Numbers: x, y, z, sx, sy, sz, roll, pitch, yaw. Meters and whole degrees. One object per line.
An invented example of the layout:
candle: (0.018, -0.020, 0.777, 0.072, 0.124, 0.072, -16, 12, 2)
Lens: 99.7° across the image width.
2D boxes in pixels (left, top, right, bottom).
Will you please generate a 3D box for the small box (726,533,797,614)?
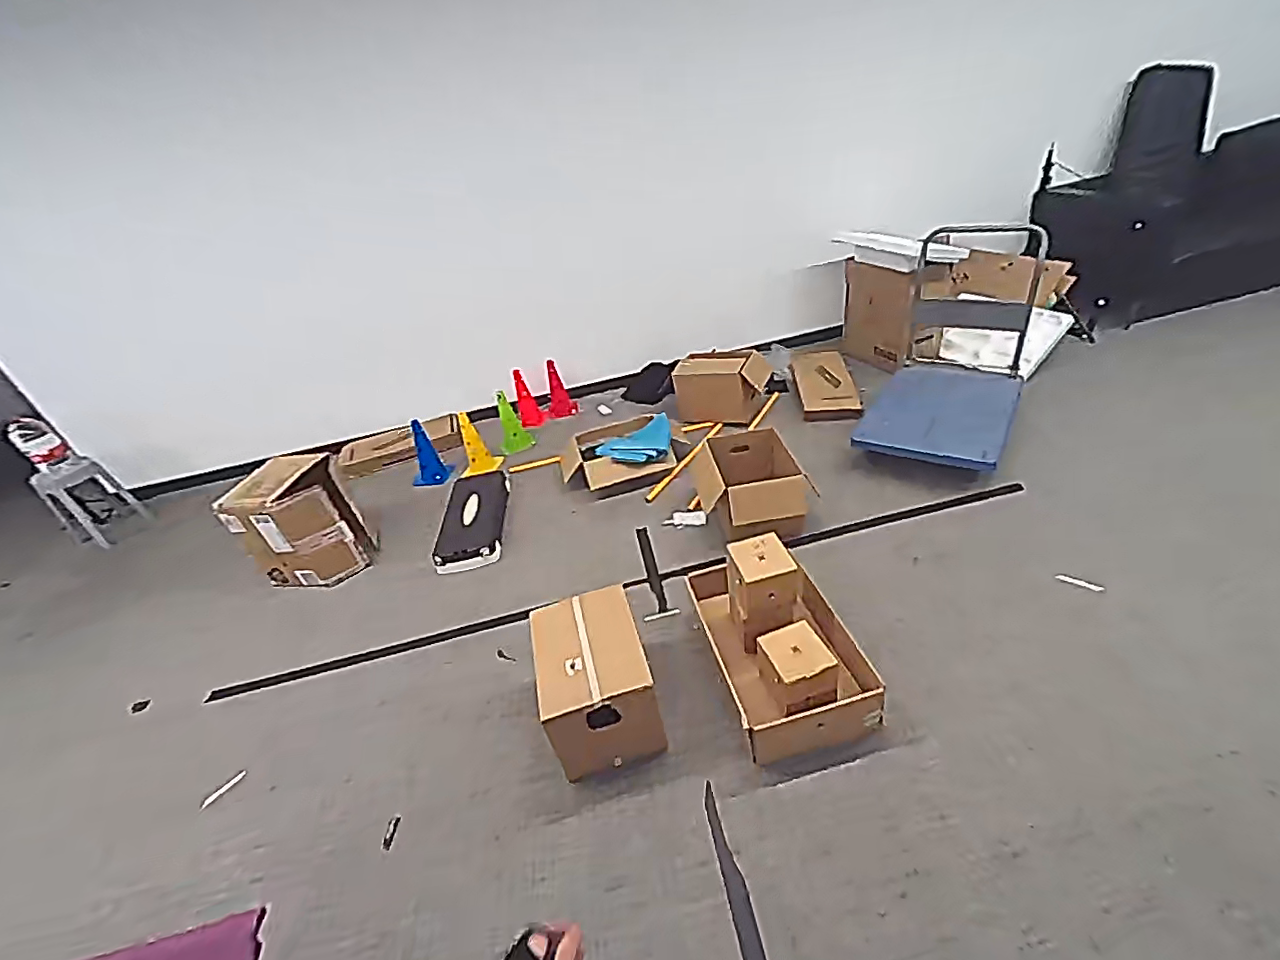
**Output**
small box: (0.381, 0.301, 1.698, 0.168, 0.176, 0.179, -14, 35, -6)

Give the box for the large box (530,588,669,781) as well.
large box: (-0.127, 0.610, 1.654, 0.320, 0.320, 0.408, -17, 35, -7)
